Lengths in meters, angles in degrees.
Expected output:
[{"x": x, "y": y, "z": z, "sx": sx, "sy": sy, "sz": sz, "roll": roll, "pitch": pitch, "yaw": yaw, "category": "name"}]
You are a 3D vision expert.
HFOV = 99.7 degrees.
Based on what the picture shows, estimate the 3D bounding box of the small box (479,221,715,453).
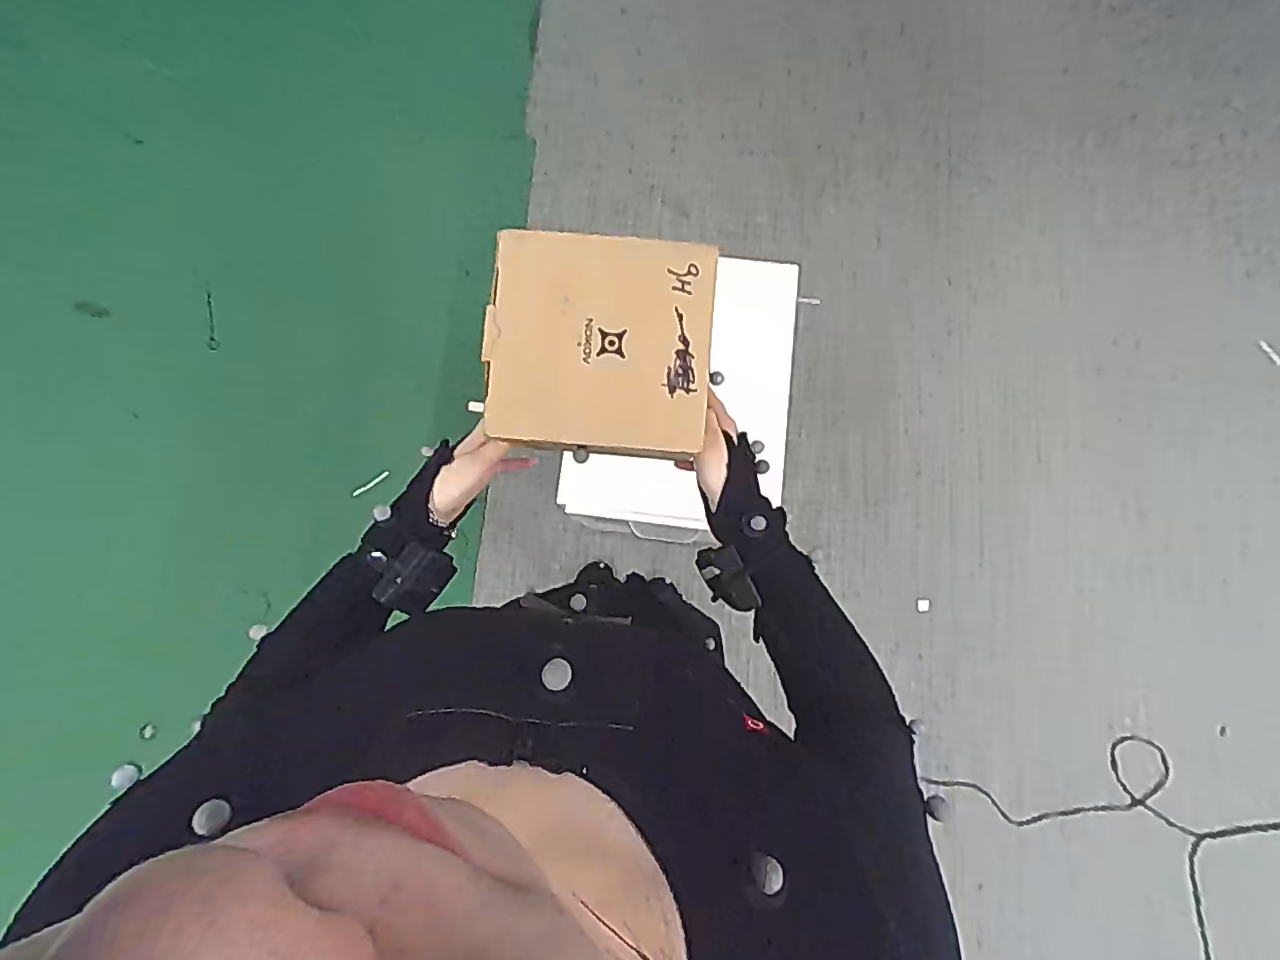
[{"x": -0.033, "y": -0.116, "z": 0.505, "sx": 0.179, "sy": 0.176, "sz": 0.168, "roll": 5, "pitch": 89, "yaw": 0, "category": "small box"}]
